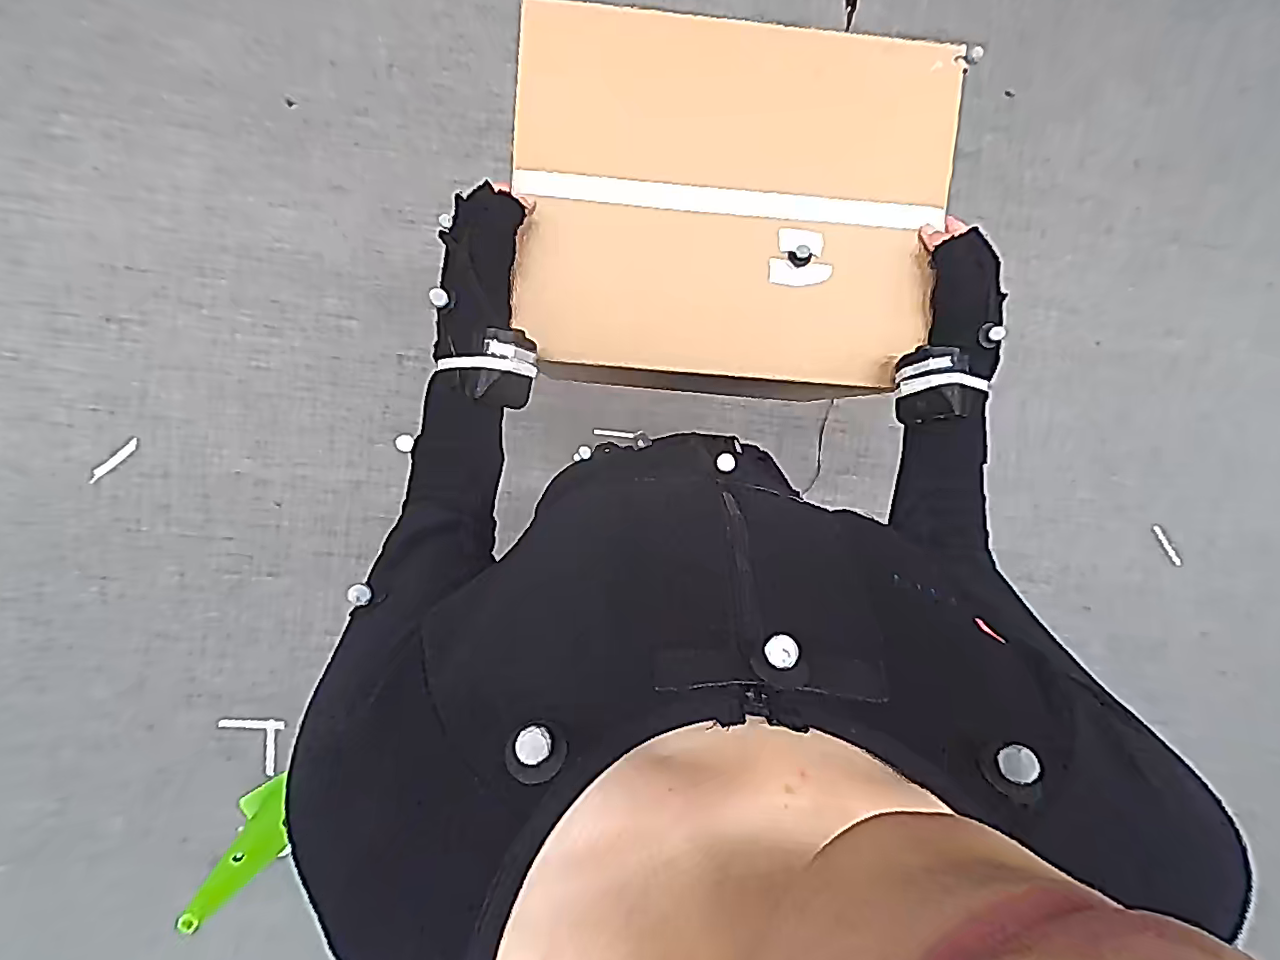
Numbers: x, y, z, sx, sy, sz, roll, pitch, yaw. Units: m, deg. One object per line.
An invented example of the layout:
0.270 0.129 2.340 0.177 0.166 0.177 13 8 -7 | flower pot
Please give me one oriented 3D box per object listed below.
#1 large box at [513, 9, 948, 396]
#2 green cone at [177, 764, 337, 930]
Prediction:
0.075 -0.276 0.657 0.408 0.320 0.320 4 96 -3 | large box
-0.962 0.918 1.322 0.202 0.368 0.200 -32 94 1 | green cone
